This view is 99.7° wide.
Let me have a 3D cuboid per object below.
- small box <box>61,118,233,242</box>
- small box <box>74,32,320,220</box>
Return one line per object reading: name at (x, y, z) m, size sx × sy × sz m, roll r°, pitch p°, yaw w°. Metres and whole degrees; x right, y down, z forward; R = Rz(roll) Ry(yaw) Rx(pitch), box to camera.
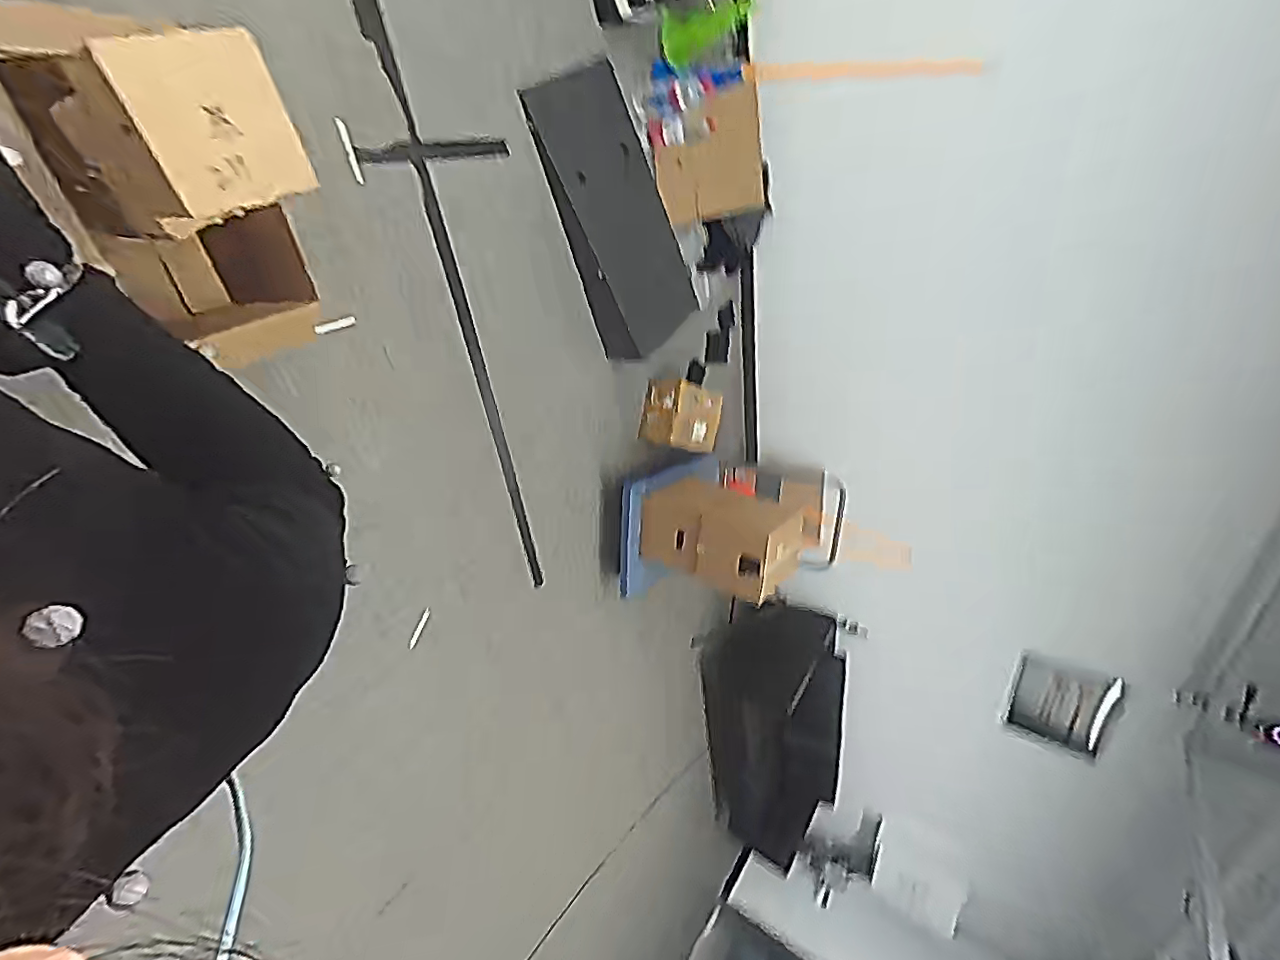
small box at (-0.809, -0.528, 0.917) m, size 0.168 × 0.176 × 0.179 m, roll -53°, pitch 143°, yaw -24°
small box at (-0.569, -0.450, 0.702) m, size 0.168 × 0.176 × 0.179 m, roll -41°, pitch 136°, yaw -34°
